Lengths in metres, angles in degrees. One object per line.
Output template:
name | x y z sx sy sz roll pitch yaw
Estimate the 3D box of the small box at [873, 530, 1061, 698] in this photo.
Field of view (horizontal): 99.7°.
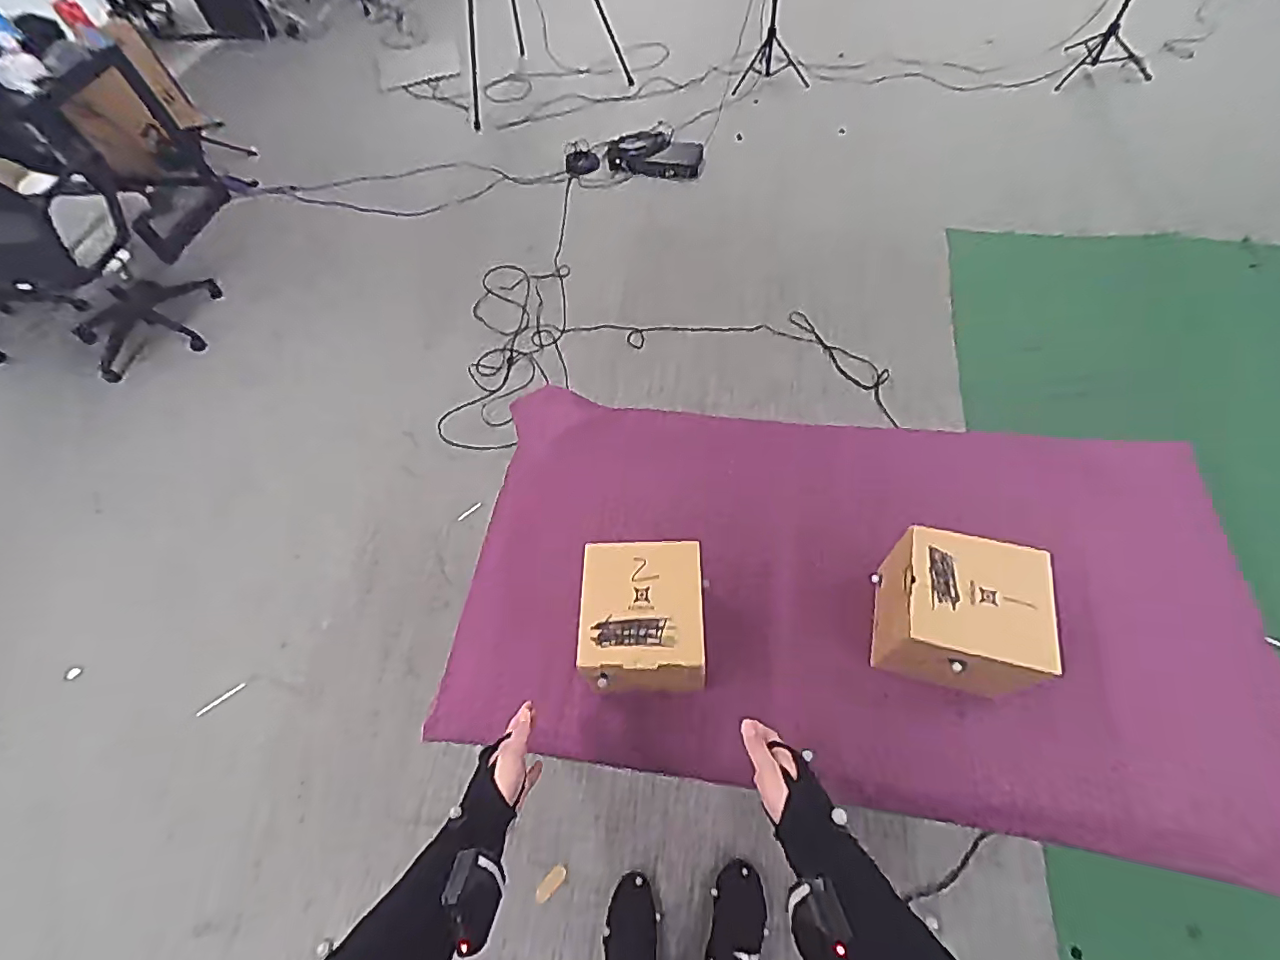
small box | 0.445 0.195 0.765 0.179 0.176 0.168 12 61 11
